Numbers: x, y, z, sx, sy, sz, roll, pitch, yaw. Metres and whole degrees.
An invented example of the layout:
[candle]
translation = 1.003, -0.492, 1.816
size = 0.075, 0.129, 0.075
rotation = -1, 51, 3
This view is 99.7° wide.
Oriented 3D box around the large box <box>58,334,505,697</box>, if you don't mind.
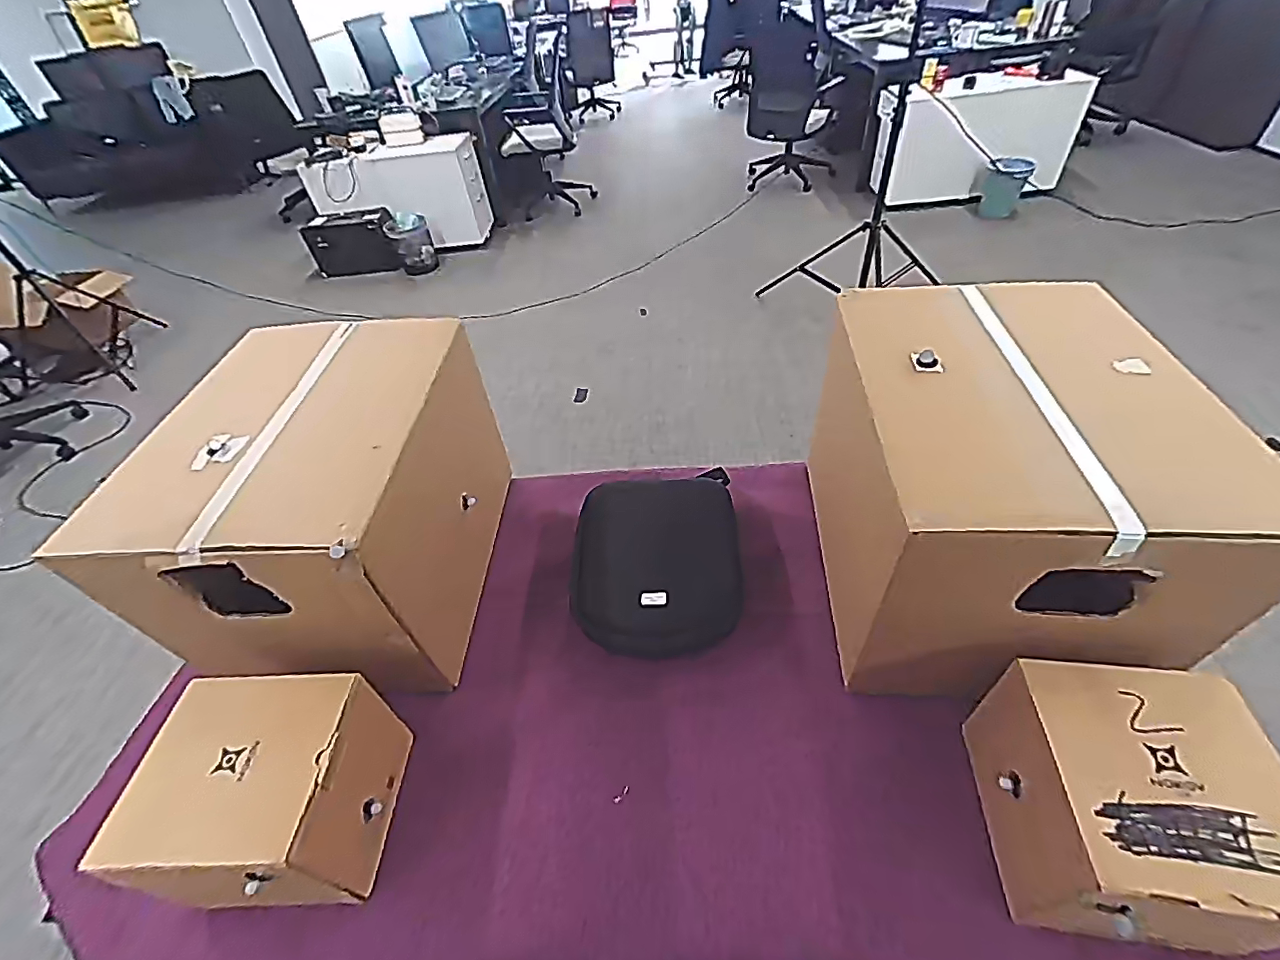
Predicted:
[large box]
translation = -0.398, 0.043, 0.749
size = 0.320, 0.320, 0.408
rotation = -3, 47, 3
